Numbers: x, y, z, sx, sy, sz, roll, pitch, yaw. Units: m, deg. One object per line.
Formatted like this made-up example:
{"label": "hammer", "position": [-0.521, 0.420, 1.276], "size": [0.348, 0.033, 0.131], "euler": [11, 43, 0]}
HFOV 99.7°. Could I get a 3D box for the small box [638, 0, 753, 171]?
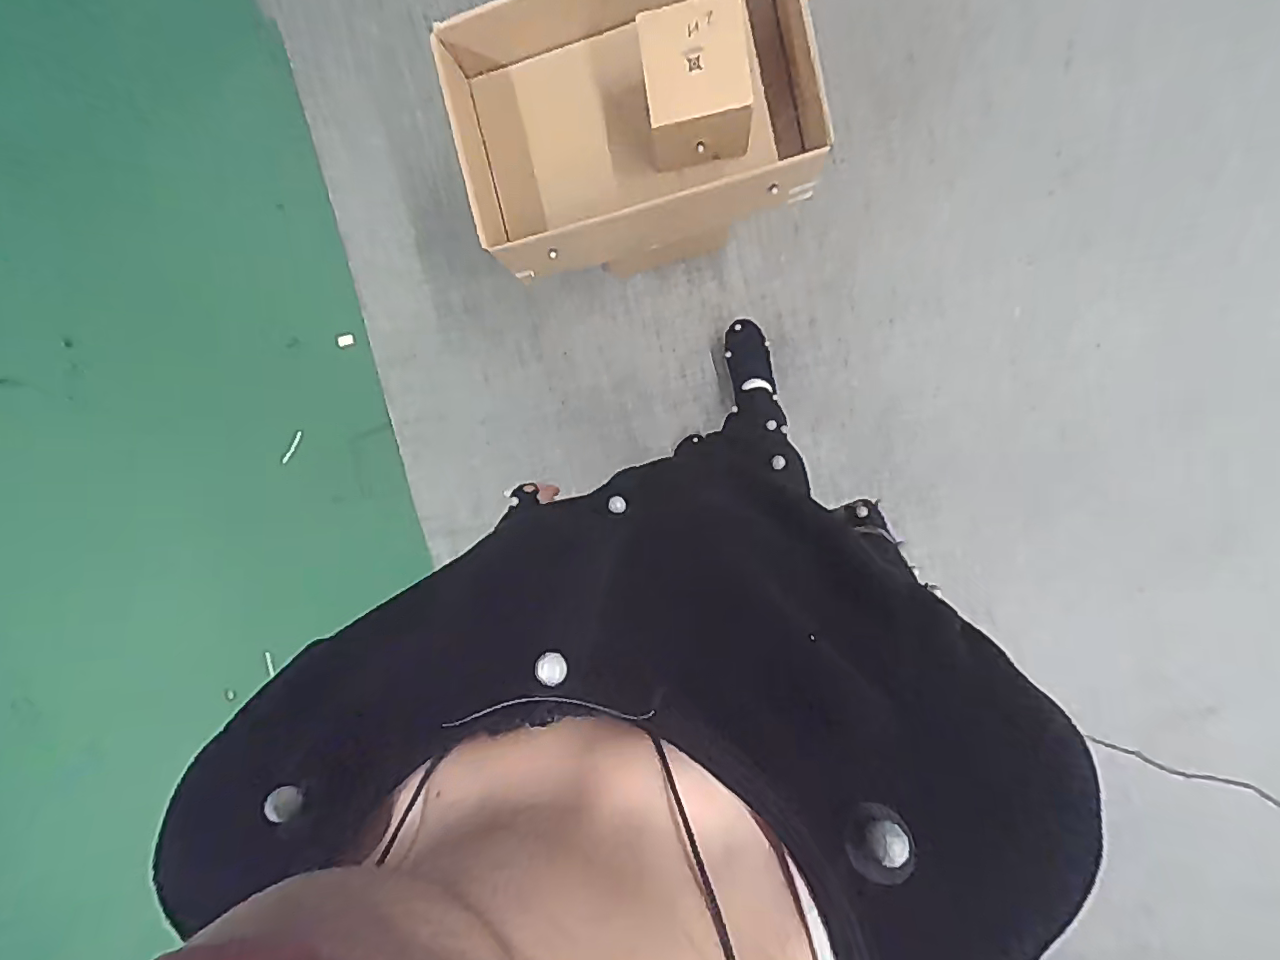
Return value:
{"label": "small box", "position": [0.098, -0.658, 0.925], "size": [0.168, 0.176, 0.179], "euler": [-8, 94, 8]}
